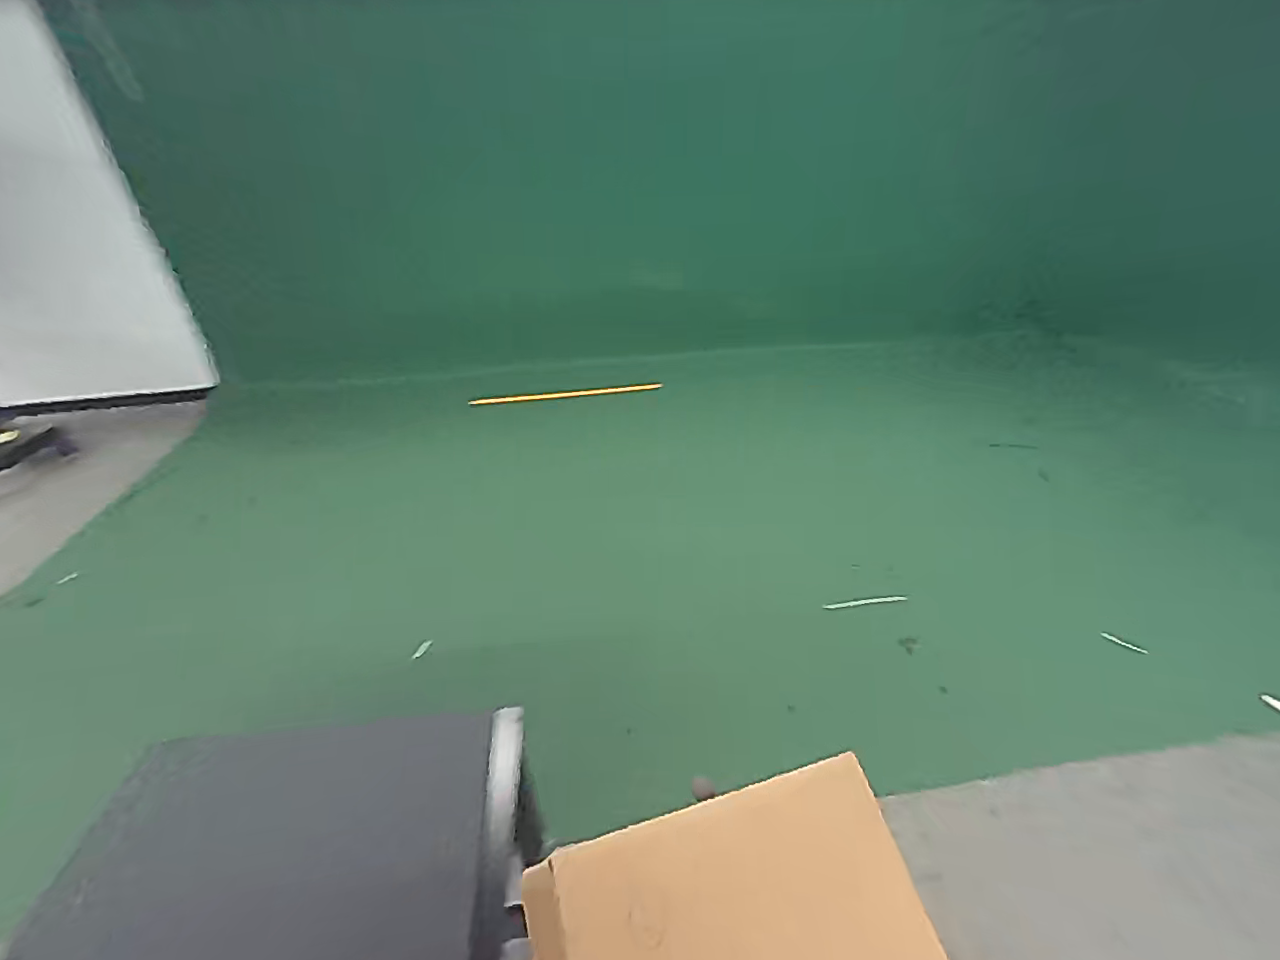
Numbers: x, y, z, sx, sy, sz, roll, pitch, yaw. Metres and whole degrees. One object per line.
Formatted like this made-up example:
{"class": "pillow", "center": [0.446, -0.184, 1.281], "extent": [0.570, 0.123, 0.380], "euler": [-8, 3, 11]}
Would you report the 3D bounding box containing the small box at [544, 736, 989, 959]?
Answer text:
{"class": "small box", "center": [0.052, 0.256, 0.270], "extent": [0.168, 0.176, 0.179], "euler": [-5, 55, -20]}
